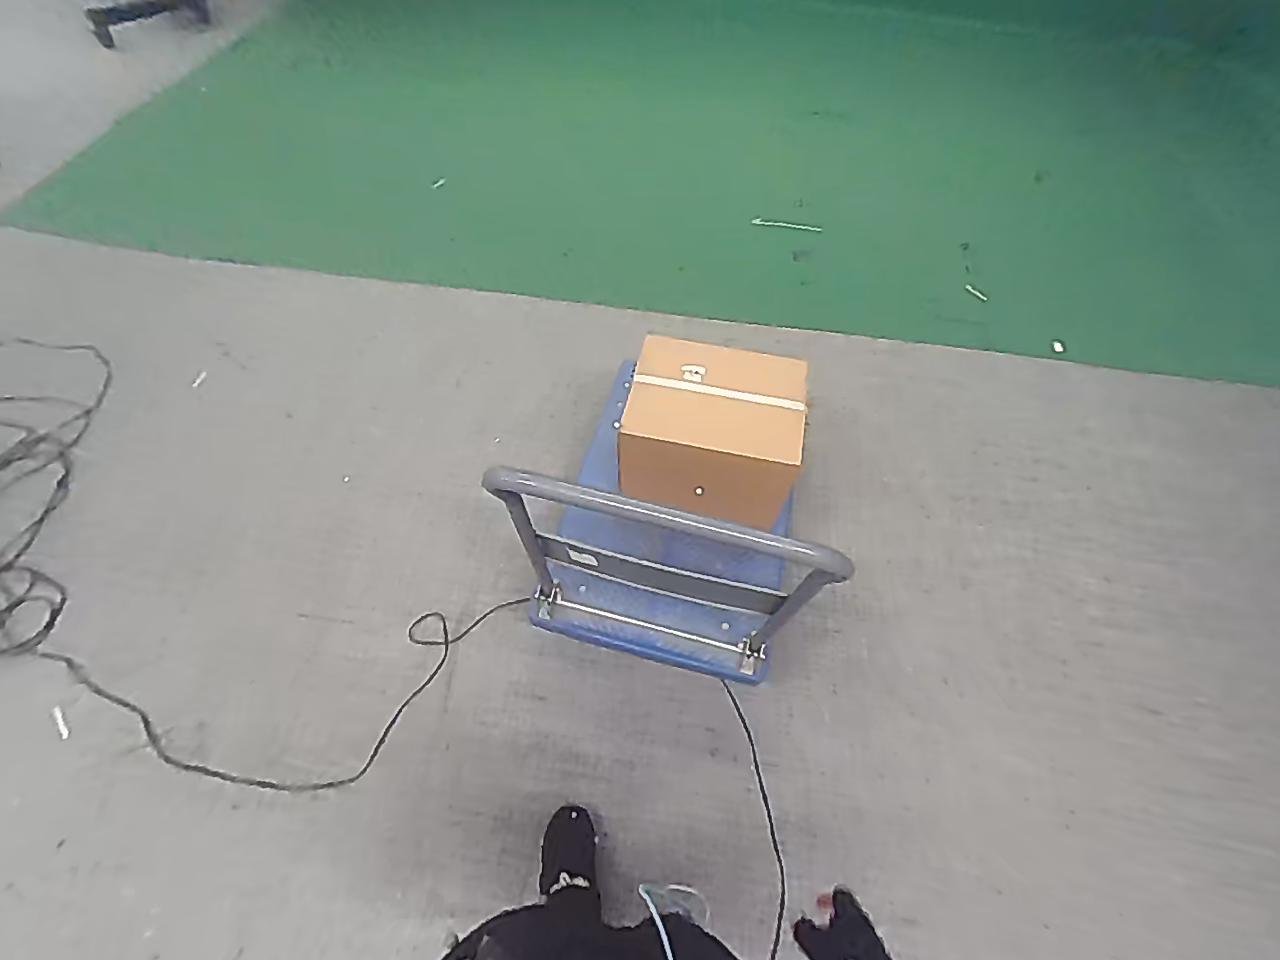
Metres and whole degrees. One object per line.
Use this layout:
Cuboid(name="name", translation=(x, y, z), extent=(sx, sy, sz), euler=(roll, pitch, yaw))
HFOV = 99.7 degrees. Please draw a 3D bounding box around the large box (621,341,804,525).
Cuboid(name="large box", translation=(0.180, -0.112, 1.389), extent=(0.408, 0.320, 0.320), euler=(11, 58, 6))
